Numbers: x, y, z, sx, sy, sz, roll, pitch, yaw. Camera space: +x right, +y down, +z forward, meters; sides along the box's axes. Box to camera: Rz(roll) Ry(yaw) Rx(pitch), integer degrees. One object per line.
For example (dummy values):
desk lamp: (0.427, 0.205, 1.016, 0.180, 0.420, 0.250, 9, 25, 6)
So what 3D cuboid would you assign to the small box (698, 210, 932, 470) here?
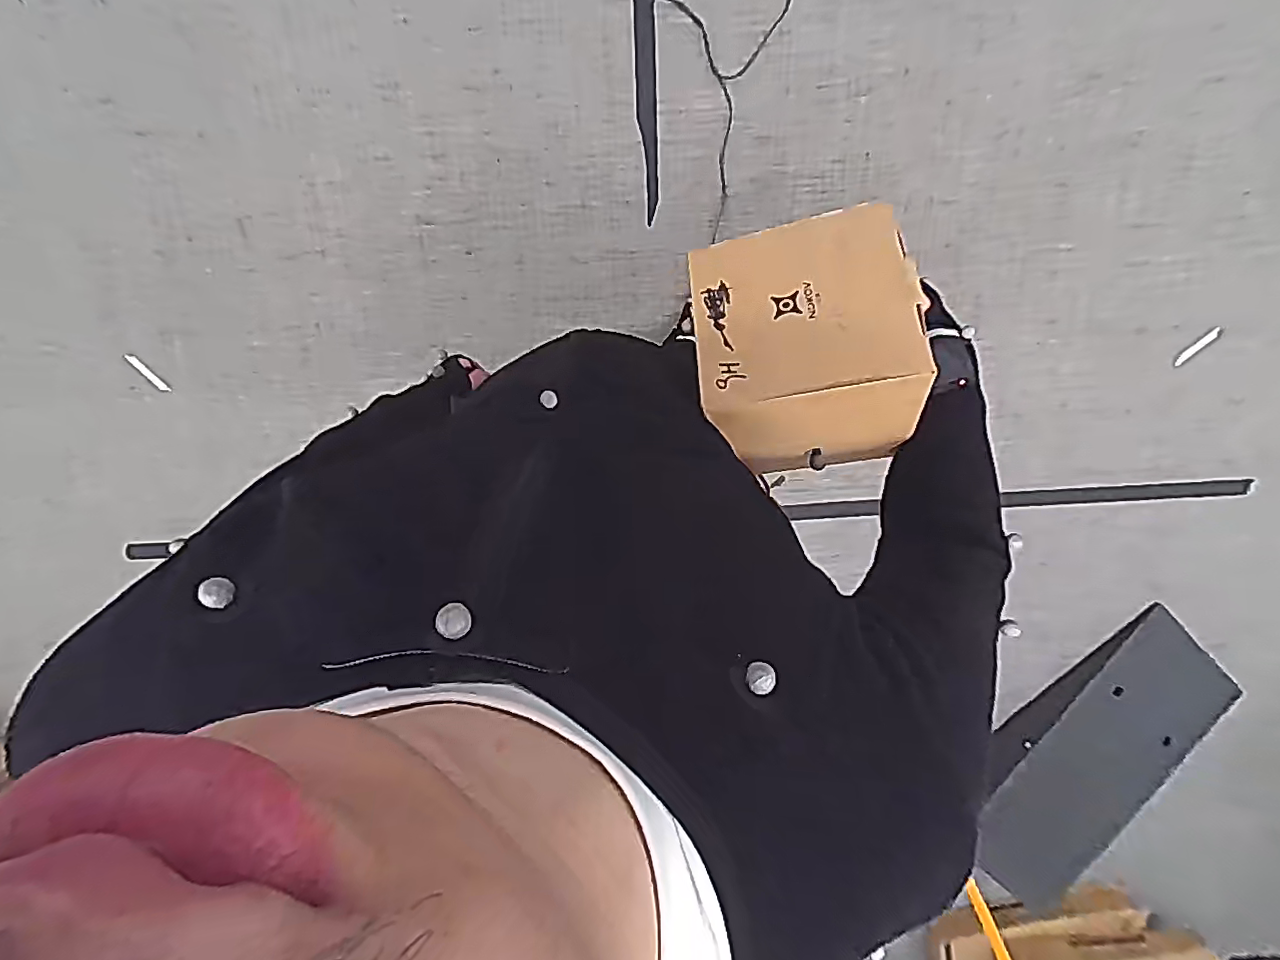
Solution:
small box: (0.160, -0.120, 0.529, 0.179, 0.176, 0.168, -7, 68, 15)
